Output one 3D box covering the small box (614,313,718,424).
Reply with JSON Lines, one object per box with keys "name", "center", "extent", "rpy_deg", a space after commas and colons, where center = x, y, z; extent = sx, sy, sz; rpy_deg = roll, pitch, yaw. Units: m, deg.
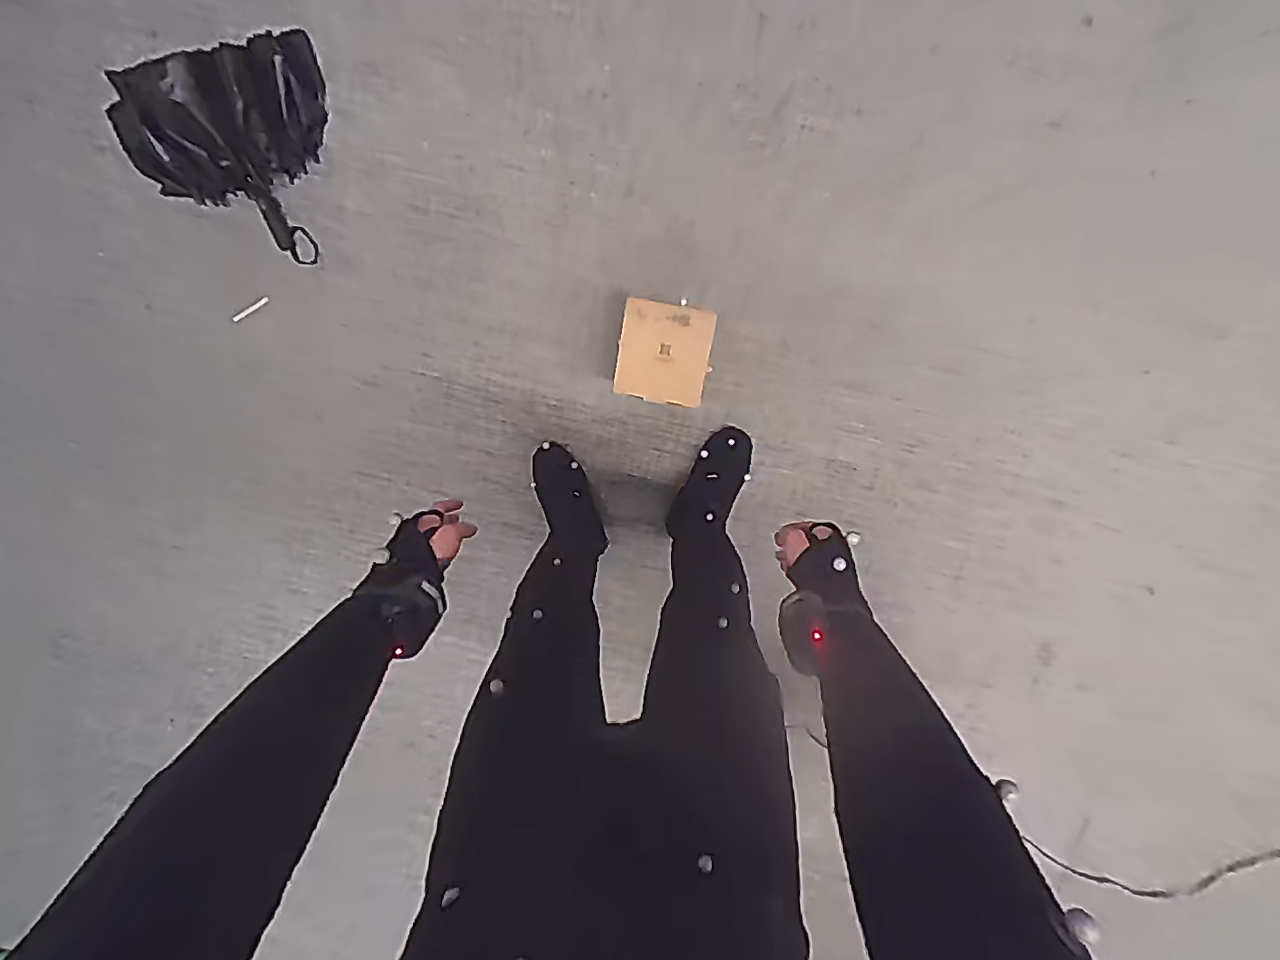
{"name": "small box", "center": [0.054, -0.221, 1.056], "extent": [0.168, 0.176, 0.179], "rpy_deg": [11, 105, 3]}
